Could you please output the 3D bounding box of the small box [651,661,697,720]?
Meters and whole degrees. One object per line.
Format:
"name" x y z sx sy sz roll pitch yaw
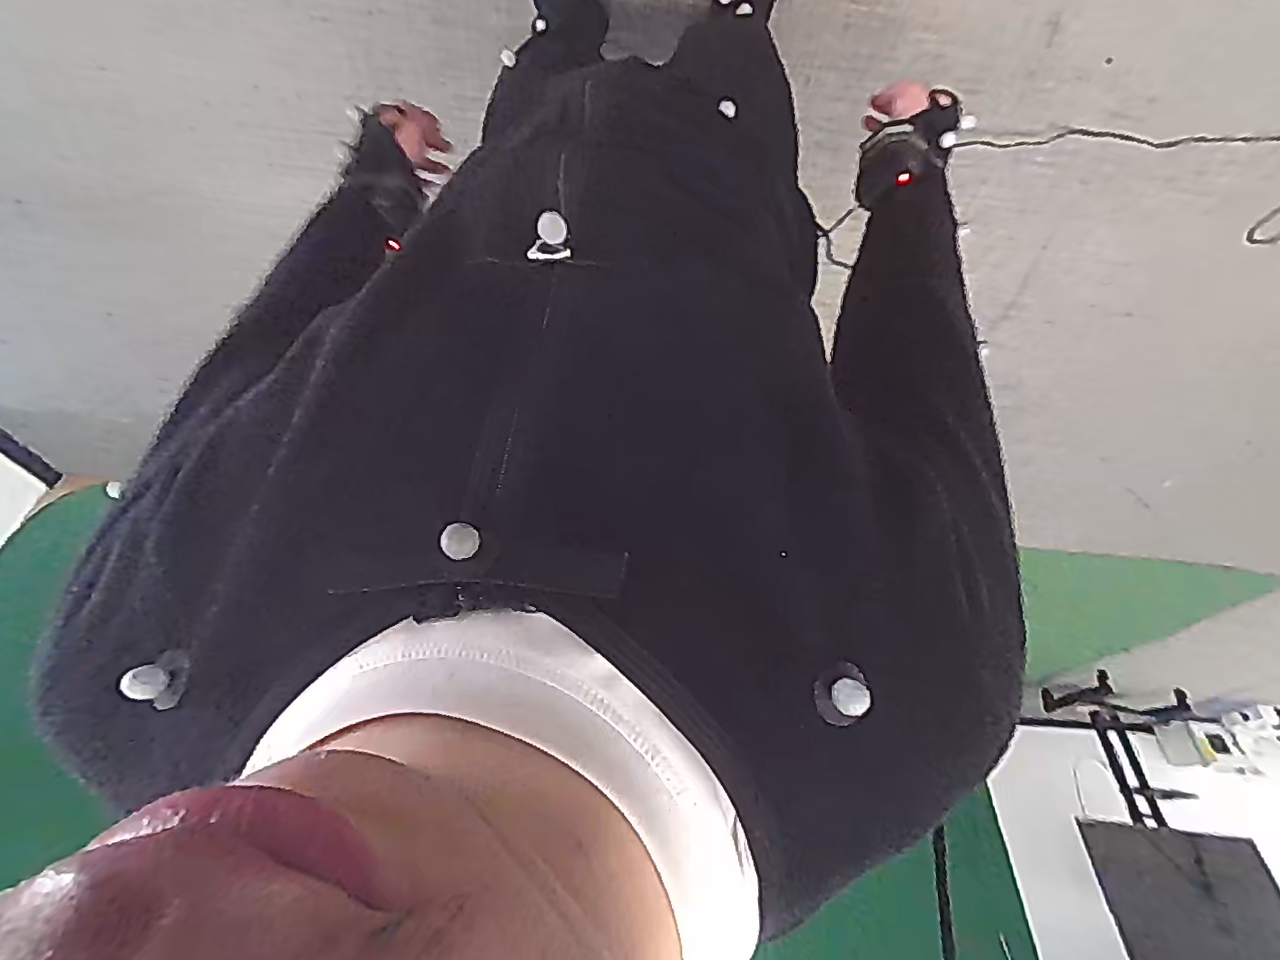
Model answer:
"small box" 0.124 0.776 1.993 0.168 0.176 0.179 1 144 4
